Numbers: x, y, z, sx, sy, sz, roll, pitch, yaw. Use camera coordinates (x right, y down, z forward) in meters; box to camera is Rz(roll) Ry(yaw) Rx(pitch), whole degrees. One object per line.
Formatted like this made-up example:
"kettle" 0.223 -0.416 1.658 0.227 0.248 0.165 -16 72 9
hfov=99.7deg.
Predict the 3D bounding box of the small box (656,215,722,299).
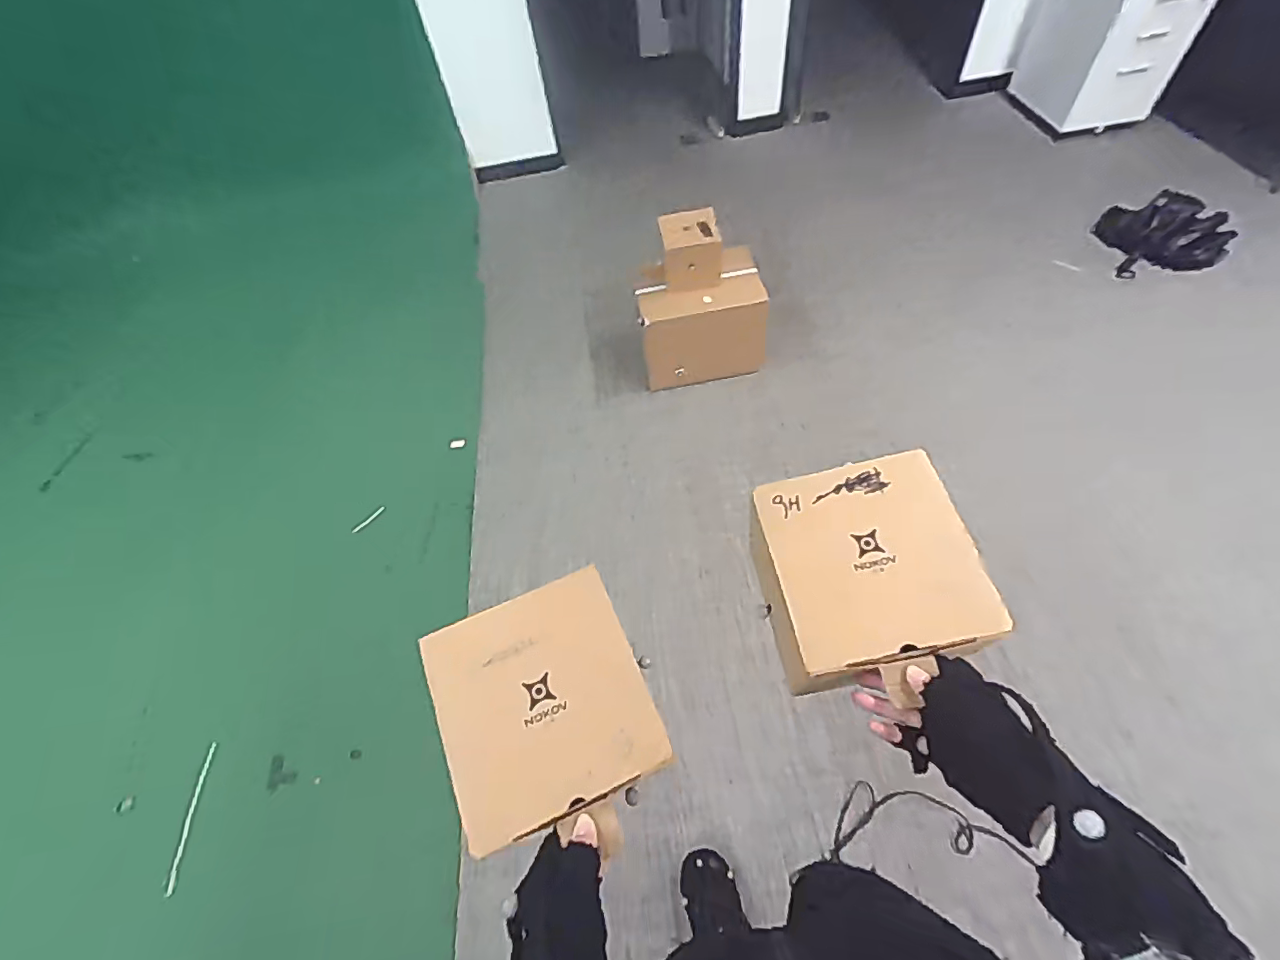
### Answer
"small box" 0.153 -0.704 1.714 0.179 0.176 0.168 -11 61 -1

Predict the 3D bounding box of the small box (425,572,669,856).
"small box" -0.079 0.220 0.521 0.168 0.176 0.179 -22 62 -10

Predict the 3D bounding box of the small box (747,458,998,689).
"small box" 0.210 0.106 0.545 0.168 0.176 0.179 -13 62 5
